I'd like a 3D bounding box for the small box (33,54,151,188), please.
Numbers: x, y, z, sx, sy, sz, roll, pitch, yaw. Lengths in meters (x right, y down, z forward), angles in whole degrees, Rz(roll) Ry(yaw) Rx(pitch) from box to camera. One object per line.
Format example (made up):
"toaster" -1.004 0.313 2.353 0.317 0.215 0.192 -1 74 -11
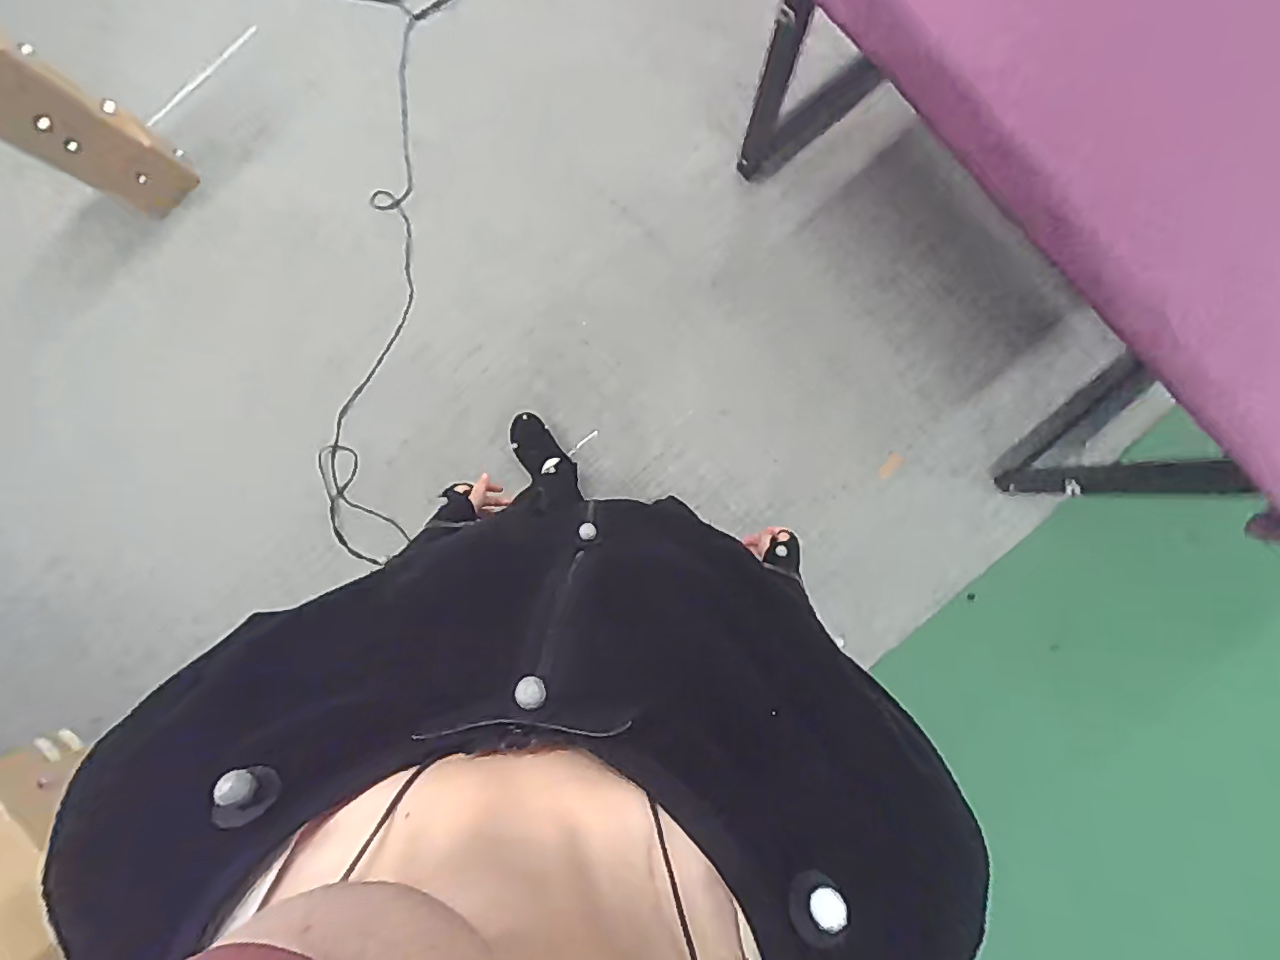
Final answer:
"small box" -1.370 -0.861 1.319 0.179 0.176 0.168 -41 90 1

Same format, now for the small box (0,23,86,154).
"small box" -1.362 -0.855 1.155 0.179 0.176 0.168 -43 89 0

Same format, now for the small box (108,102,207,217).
"small box" -1.358 -0.866 1.482 0.179 0.176 0.168 -42 88 0
